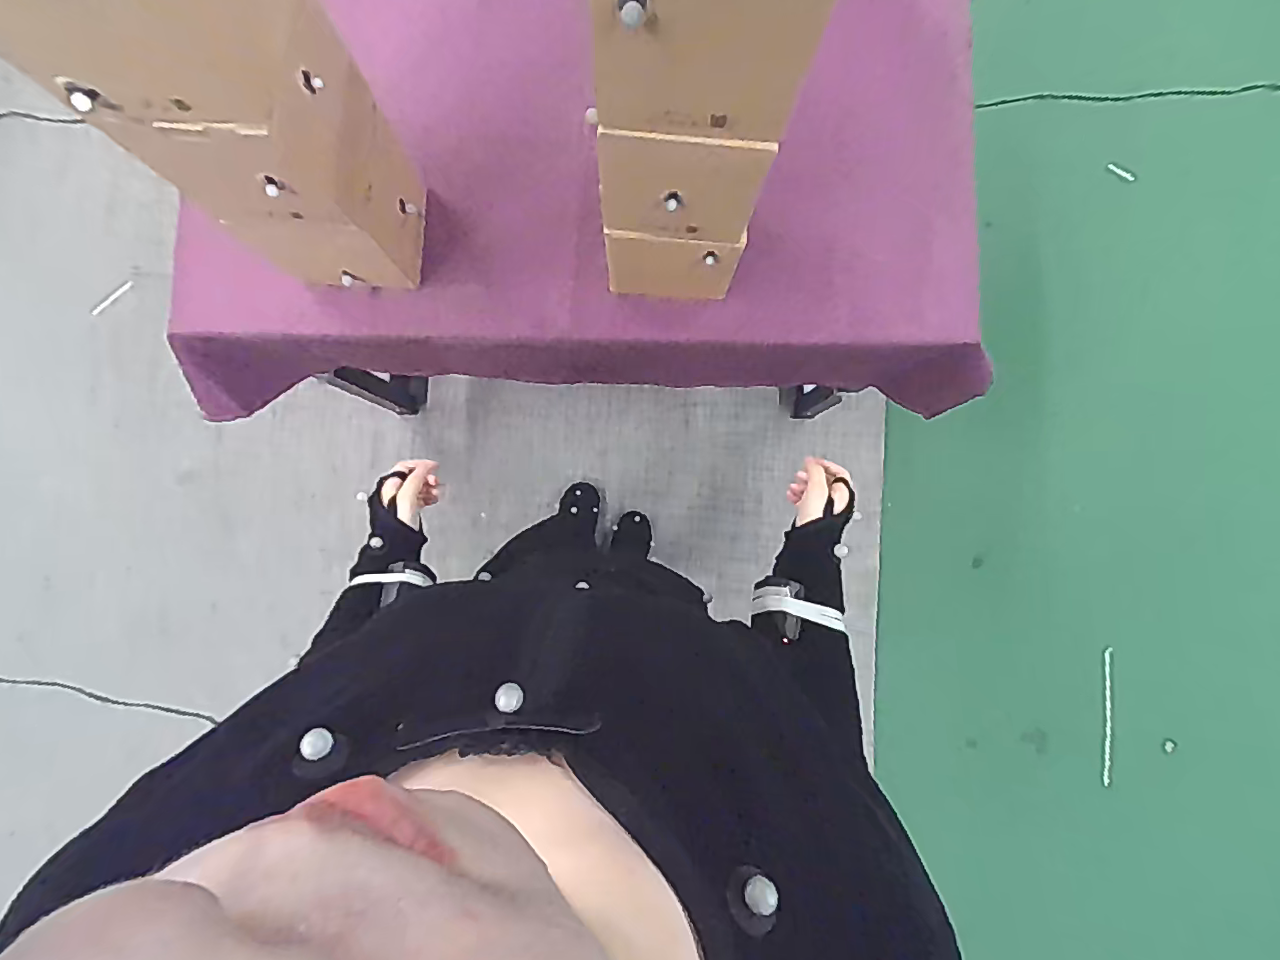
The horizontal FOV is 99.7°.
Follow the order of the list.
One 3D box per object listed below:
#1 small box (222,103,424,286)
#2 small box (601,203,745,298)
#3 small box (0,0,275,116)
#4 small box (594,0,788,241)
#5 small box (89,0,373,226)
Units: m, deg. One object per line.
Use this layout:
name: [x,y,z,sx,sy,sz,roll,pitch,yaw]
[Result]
small box: [-0.409,-0.377,0.729,0.179,0.176,0.168,3,86,-1]
small box: [0.044,-0.364,0.738,0.179,0.176,0.168,4,86,-1]
small box: [-0.406,-0.411,0.403,0.168,0.176,0.179,1,85,-2]
small box: [0.047,-0.381,0.574,0.168,0.176,0.179,6,86,-1]
small box: [-0.403,-0.394,0.567,0.168,0.176,0.179,5,85,-1]
